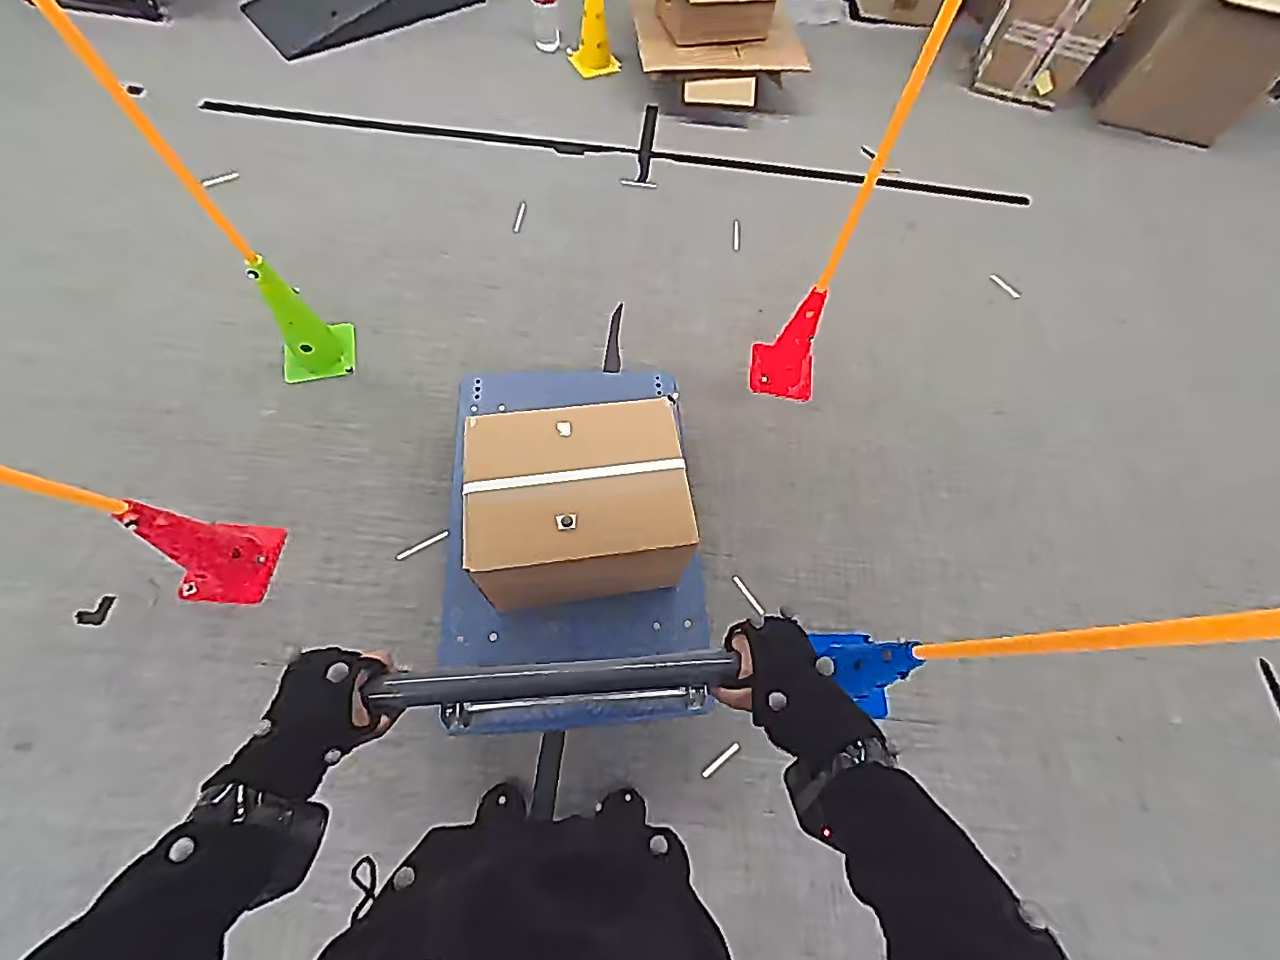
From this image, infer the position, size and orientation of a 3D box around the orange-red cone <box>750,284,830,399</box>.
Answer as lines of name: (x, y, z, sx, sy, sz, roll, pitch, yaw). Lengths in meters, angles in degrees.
orange-red cone: (0.471, -0.429, 1.577, 0.199, 0.360, 0.198, 13, 64, 1)

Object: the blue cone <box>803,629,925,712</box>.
blue cone: (0.518, 0.396, 1.193, 0.193, 0.380, 0.192, 3, 63, -3)
